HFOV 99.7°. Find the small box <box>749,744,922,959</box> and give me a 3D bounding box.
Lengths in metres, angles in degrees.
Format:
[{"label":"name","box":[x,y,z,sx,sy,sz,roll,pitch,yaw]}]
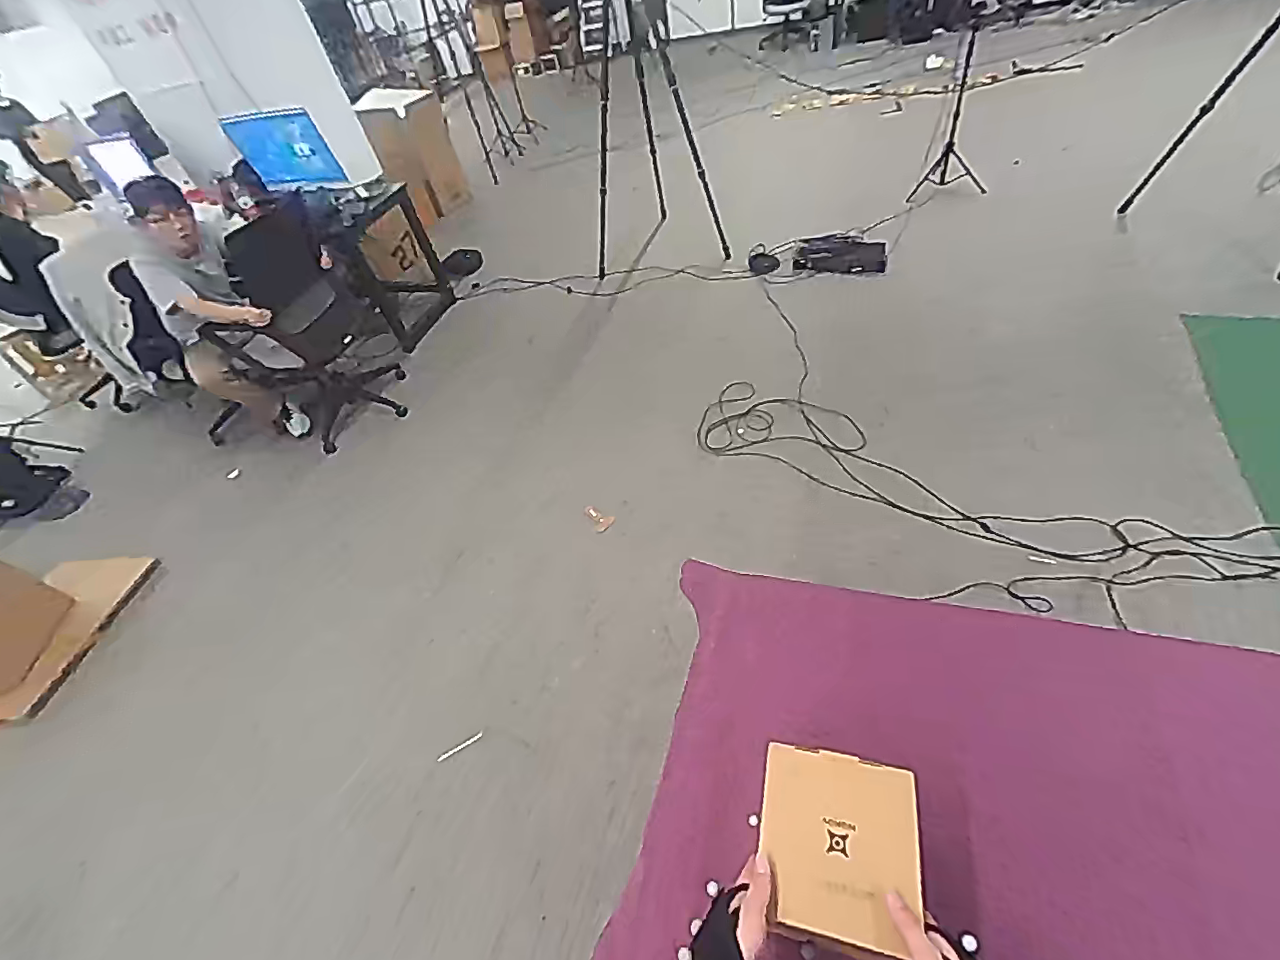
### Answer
[{"label":"small box","box":[0.223,0.447,0.642,0.168,0.176,0.179,5,49,18]}]
